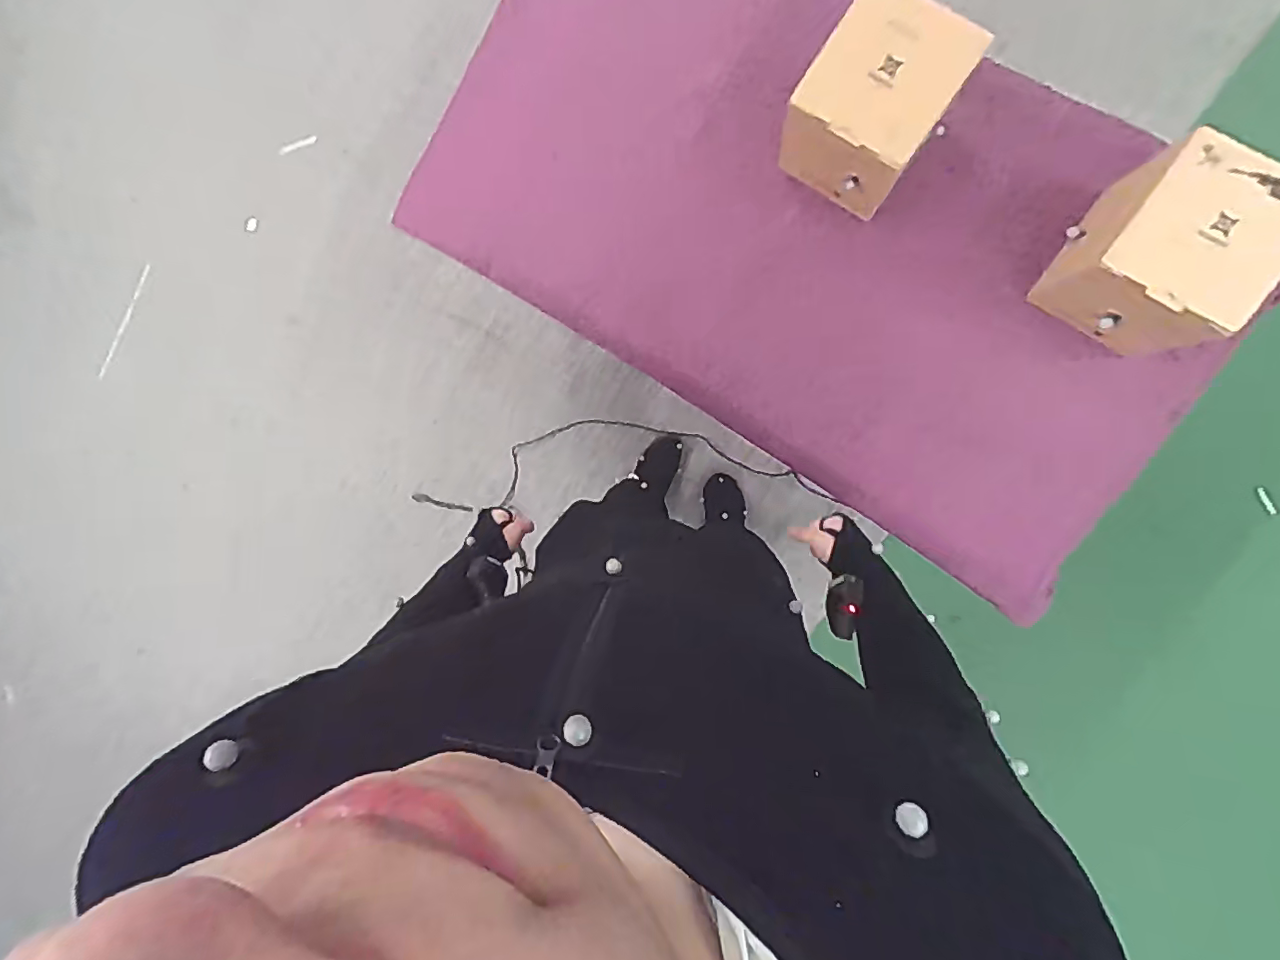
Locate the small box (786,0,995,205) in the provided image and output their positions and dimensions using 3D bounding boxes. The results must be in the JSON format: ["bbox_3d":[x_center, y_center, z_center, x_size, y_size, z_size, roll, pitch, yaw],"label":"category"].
[{"bbox_3d":[0.311,-0.508,0.719,0.168,0.176,0.179,36,100,5],"label":"small box"}]

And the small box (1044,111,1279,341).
[{"bbox_3d":[0.655,-0.294,0.672,0.168,0.176,0.179,34,100,6],"label":"small box"}]
